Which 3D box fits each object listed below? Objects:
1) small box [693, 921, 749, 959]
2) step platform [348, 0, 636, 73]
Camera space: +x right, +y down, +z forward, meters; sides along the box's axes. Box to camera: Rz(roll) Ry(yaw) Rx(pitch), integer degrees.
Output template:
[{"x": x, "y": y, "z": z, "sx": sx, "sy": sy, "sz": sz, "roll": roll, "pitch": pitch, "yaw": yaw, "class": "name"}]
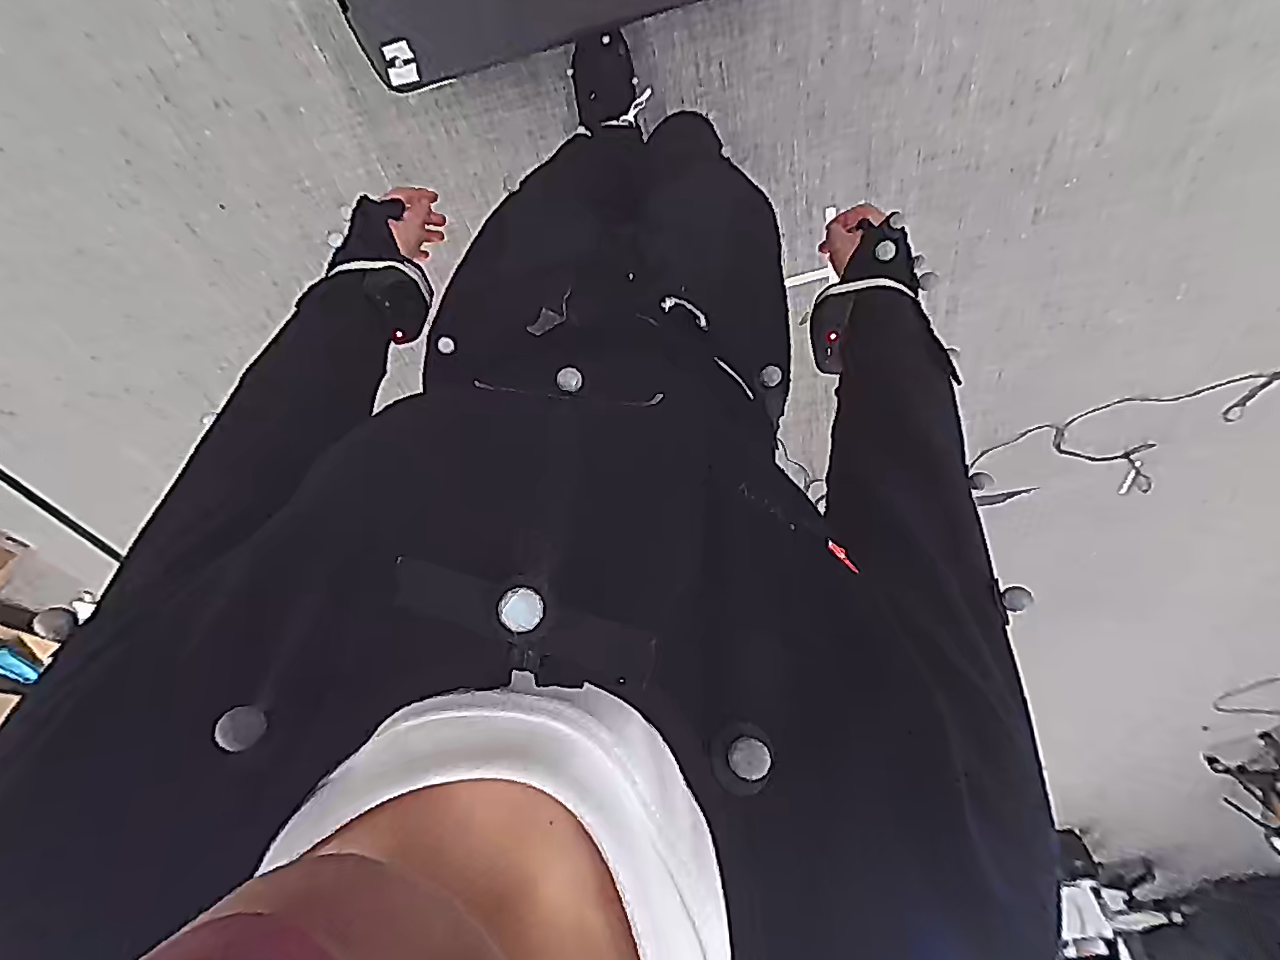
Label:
[{"x": 0.271, "y": 1.560, "z": 1.765, "sx": 0.168, "sy": 0.176, "sz": 0.179, "roll": -10, "pitch": 132, "yaw": 6, "class": "small box"}, {"x": -0.111, "y": -0.832, "z": 0.760, "sx": 0.684, "sy": 0.204, "sz": 0.286, "roll": -10, "pitch": 131, "yaw": 9, "class": "step platform"}]
